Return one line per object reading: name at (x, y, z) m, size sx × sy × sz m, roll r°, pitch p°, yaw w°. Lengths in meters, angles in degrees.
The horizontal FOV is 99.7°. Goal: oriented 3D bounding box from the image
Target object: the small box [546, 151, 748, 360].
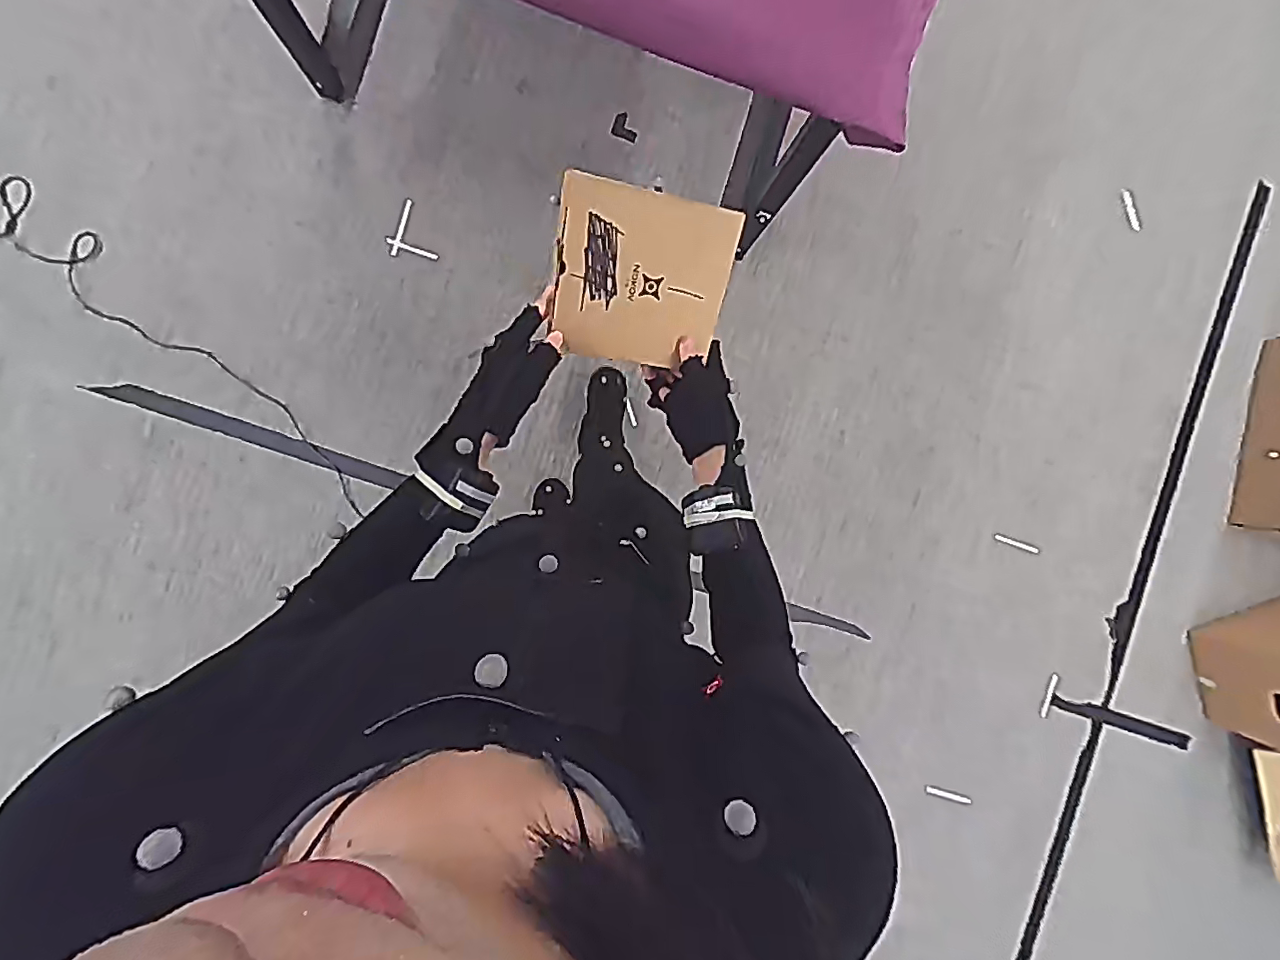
small box at (-0.008, -0.250, 0.605) m, size 0.179 × 0.176 × 0.168 m, roll 7°, pitch 118°, yaw -14°
